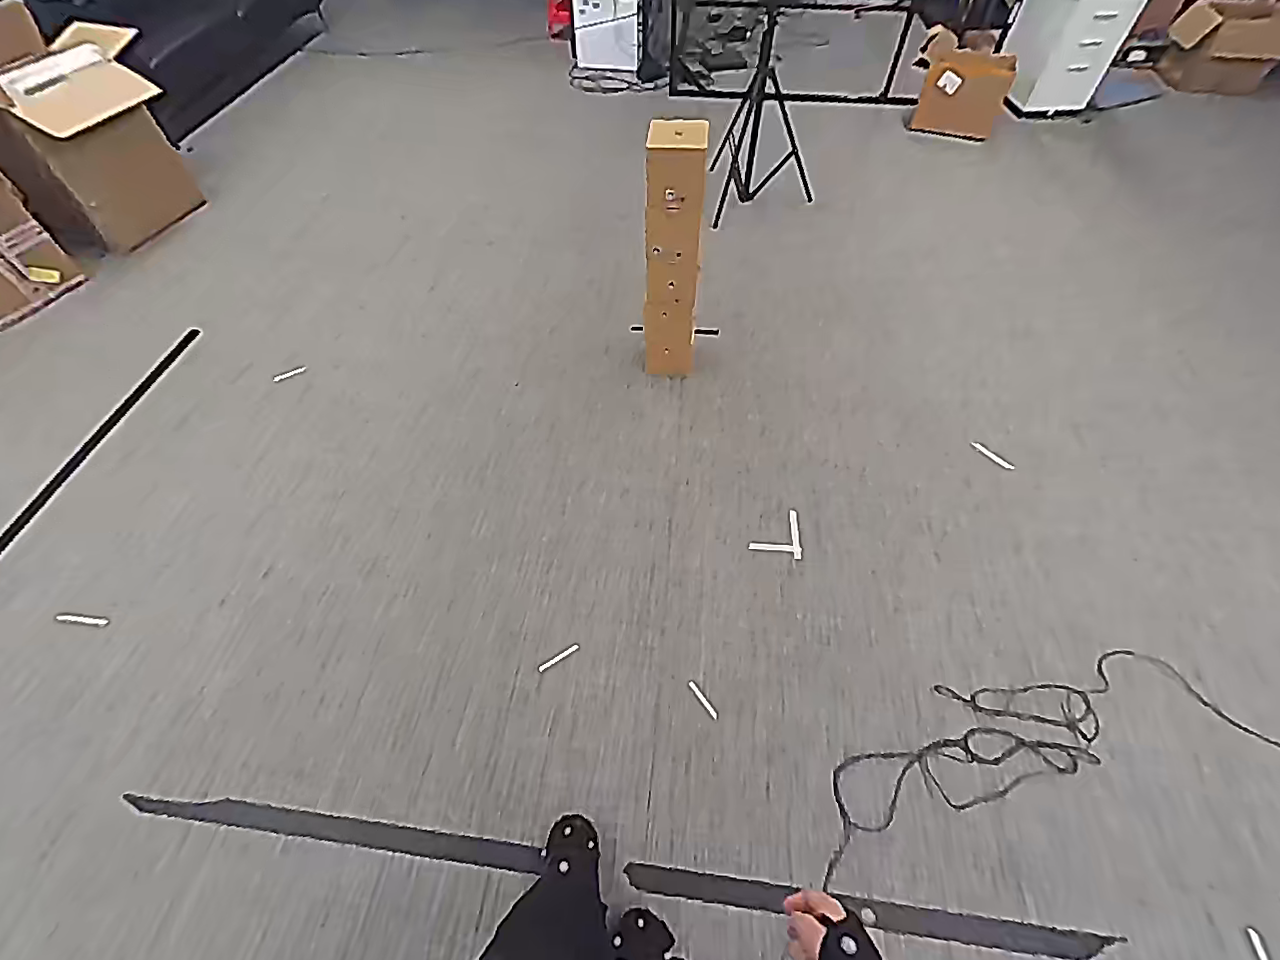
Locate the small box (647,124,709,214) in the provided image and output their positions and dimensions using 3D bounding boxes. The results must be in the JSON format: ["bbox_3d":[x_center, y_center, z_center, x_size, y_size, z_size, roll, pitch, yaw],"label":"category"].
[{"bbox_3d":[0.107,-0.887,1.543,0.168,0.176,0.179,3,55,4],"label":"small box"}]

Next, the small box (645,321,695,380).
[{"bbox_3d":[0.113,-0.502,2.072,0.179,0.176,0.168,5,55,4],"label":"small box"}]

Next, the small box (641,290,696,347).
[{"bbox_3d":[0.104,-0.596,1.937,0.179,0.176,0.168,7,55,6],"label":"small box"}]

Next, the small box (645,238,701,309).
[{"bbox_3d":[0.111,-0.693,1.806,0.168,0.176,0.179,6,55,5],"label":"small box"}]

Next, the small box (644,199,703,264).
[{"bbox_3d":[0.107,-0.792,1.674,0.168,0.176,0.179,5,54,5],"label":"small box"}]
